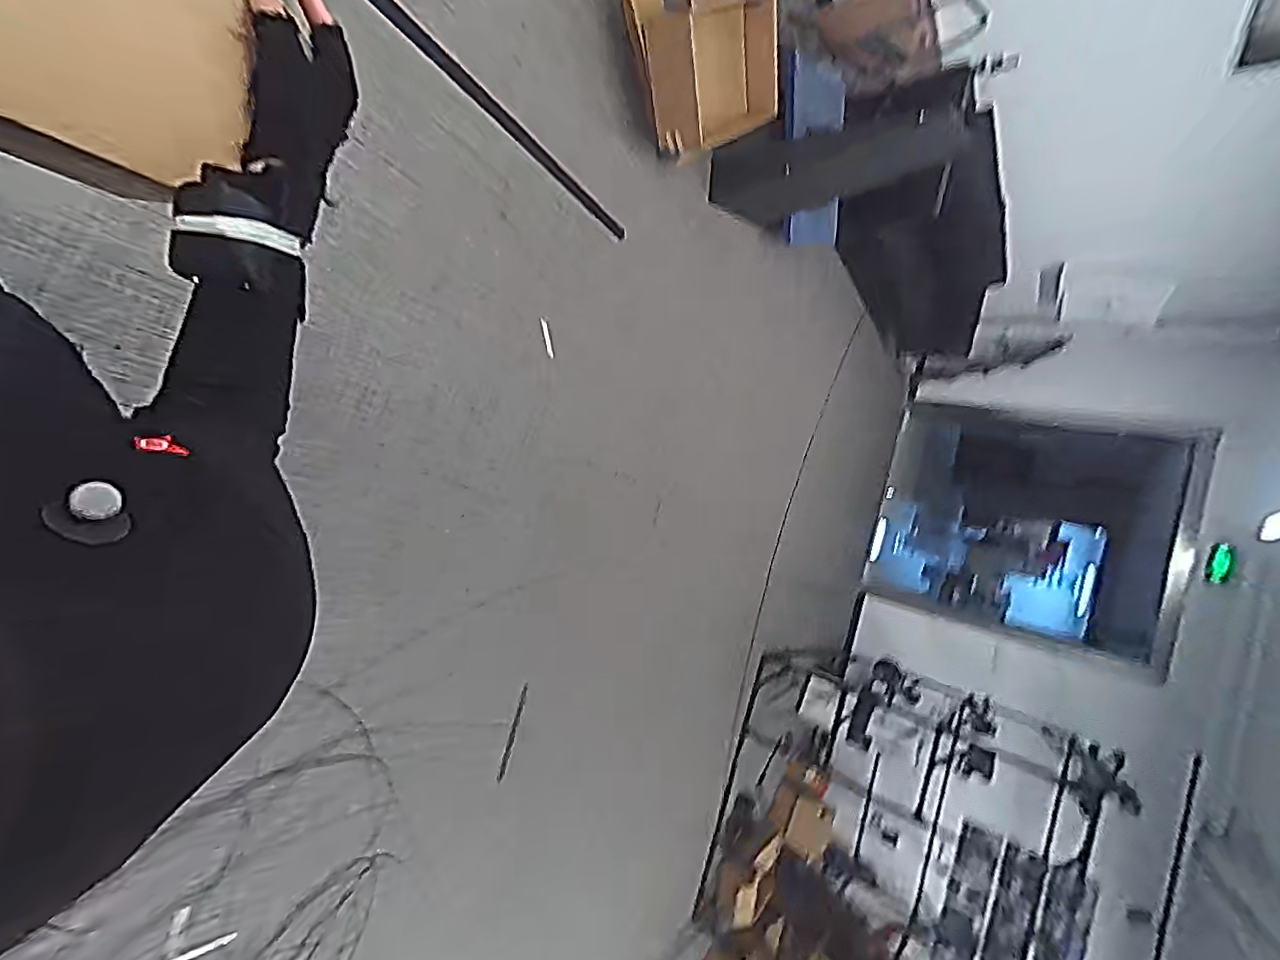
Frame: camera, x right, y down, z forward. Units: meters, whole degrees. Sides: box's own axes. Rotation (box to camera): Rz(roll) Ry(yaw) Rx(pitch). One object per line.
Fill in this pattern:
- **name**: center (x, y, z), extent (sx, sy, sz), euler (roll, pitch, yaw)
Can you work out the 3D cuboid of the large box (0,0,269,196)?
- **large box**: center (-0.497, -0.418, 0.312), extent (0.408, 0.320, 0.320), euler (9, 102, -57)
